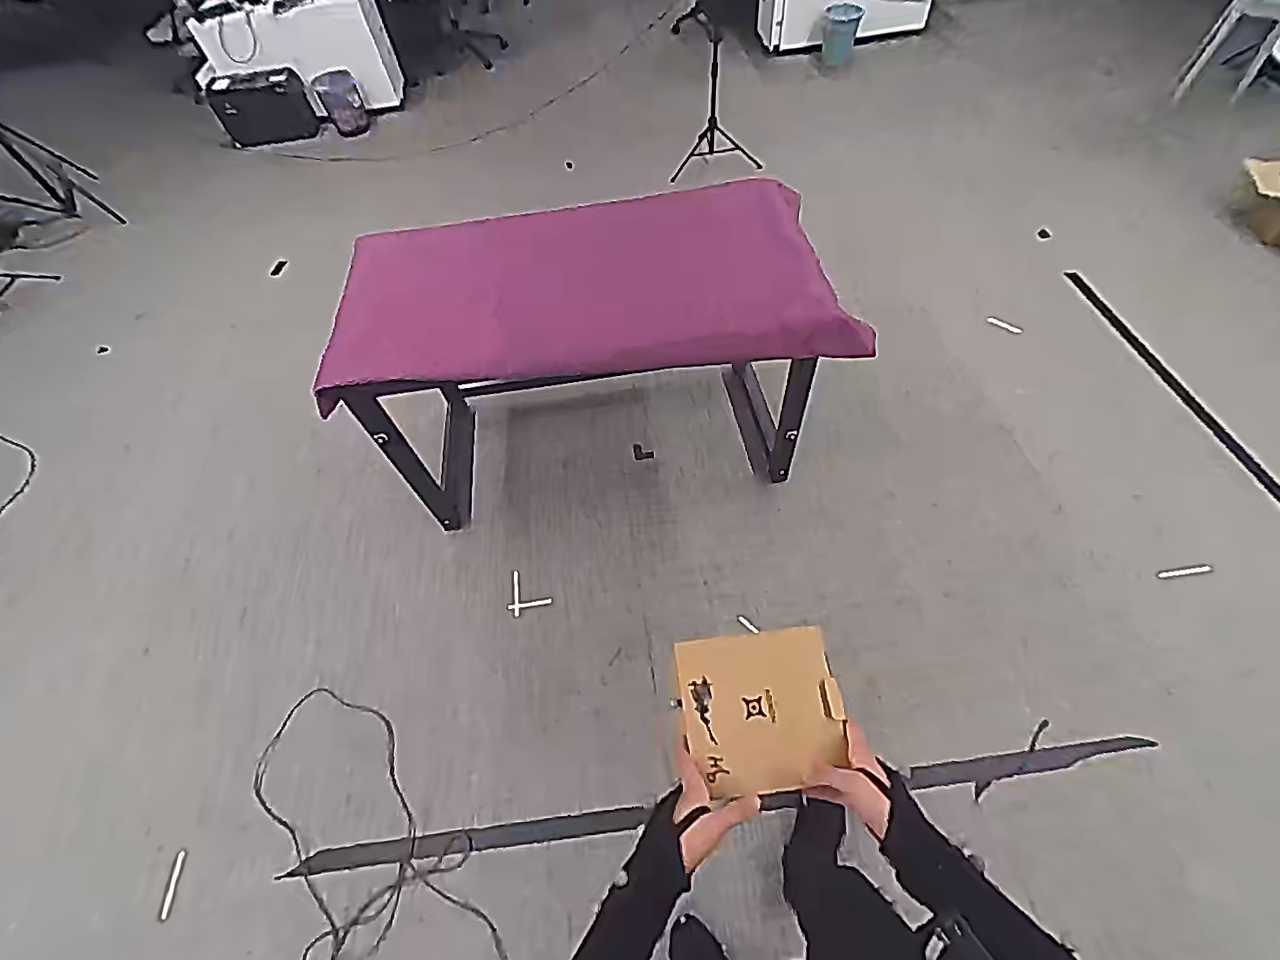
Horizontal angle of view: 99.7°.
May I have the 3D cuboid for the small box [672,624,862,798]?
[{"bbox_3d":[0.138,0.285,0.664,0.179,0.176,0.168,-6,61,-2],"label":"small box"}]
